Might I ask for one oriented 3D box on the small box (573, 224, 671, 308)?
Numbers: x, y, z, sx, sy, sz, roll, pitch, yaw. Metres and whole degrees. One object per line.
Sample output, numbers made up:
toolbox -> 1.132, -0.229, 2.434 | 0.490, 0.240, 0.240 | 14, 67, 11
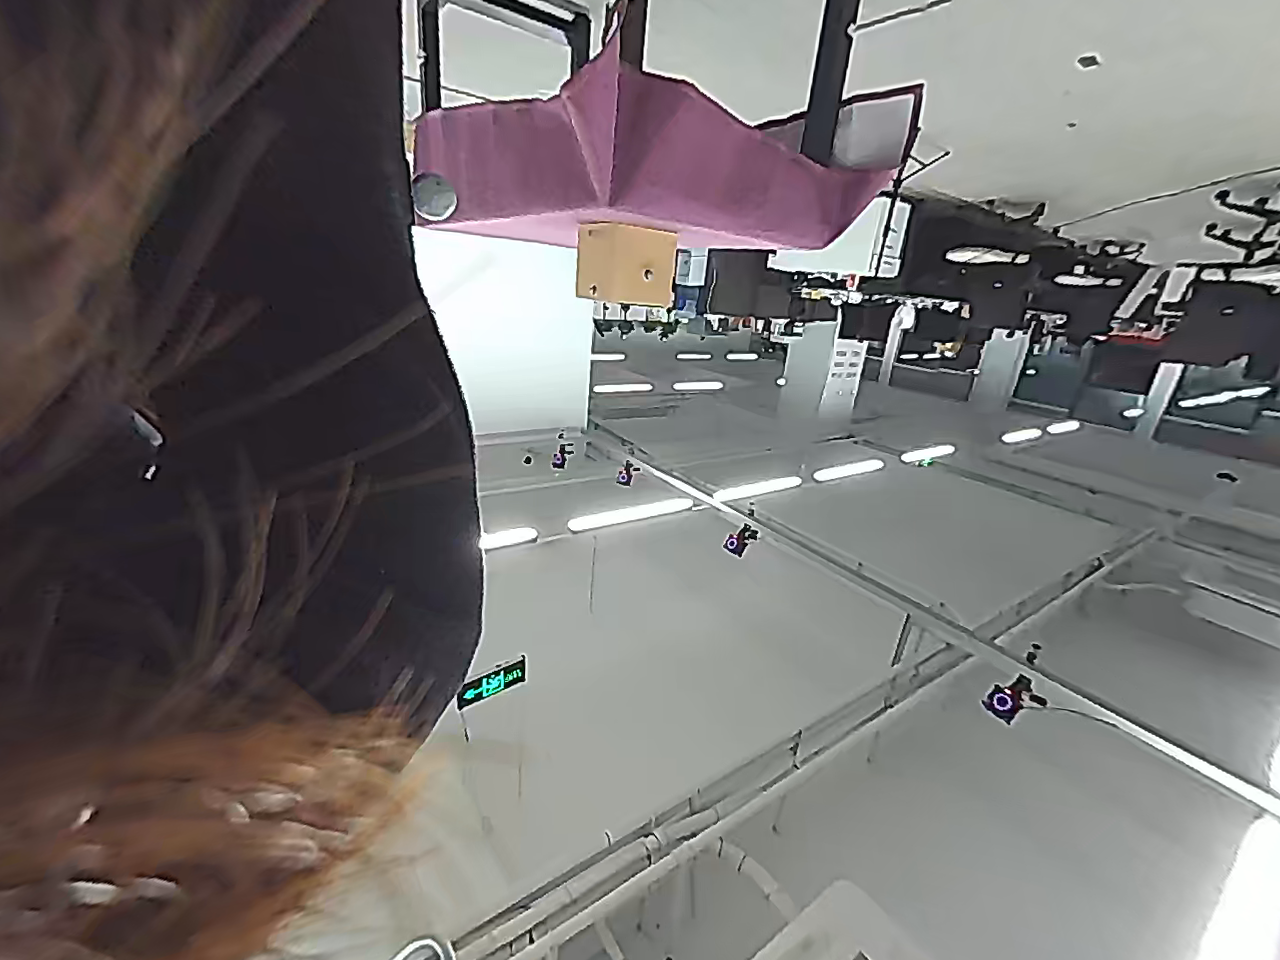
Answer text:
small box -> -0.043, -0.508, 1.284 | 0.179, 0.176, 0.168 | -9, -156, -33
